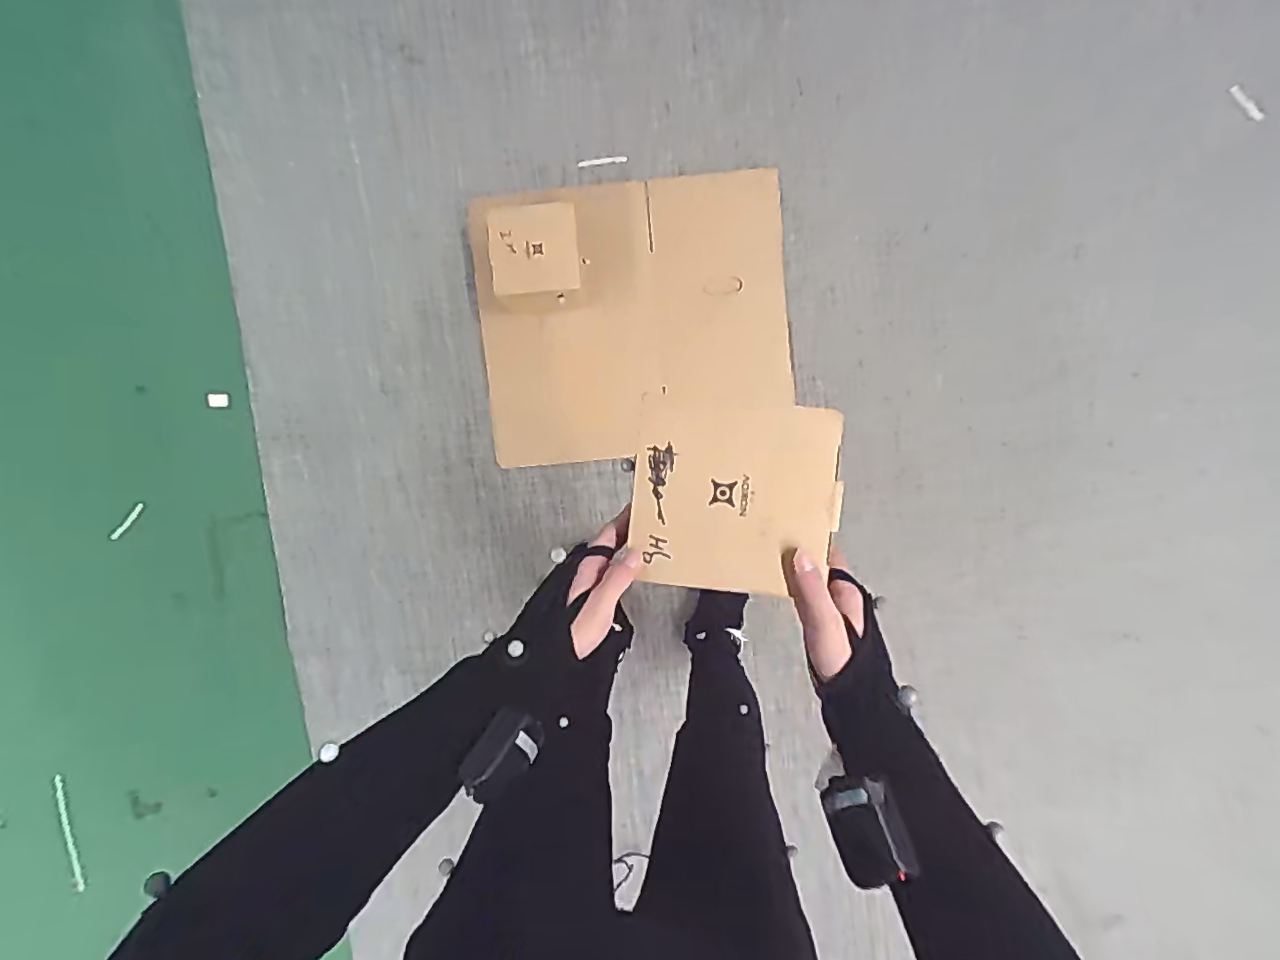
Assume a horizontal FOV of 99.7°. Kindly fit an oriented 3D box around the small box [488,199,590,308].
[{"bbox_3d":[-0.199,-0.461,1.120,0.179,0.176,0.168,-4,95,2],"label":"small box"}]

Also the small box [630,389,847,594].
[{"bbox_3d":[0.088,0.011,0.550,0.179,0.176,0.168,6,88,3],"label":"small box"}]
